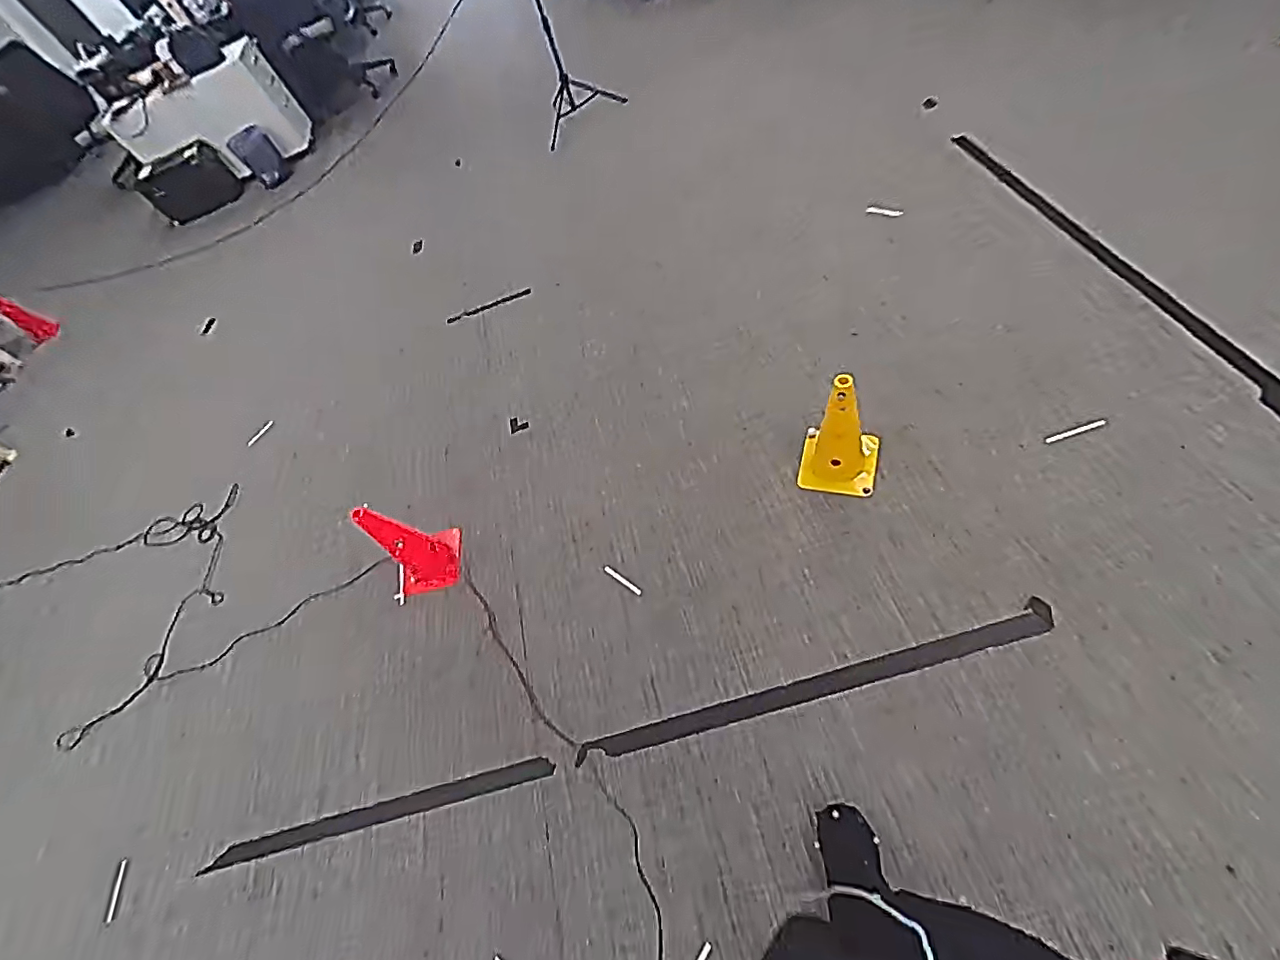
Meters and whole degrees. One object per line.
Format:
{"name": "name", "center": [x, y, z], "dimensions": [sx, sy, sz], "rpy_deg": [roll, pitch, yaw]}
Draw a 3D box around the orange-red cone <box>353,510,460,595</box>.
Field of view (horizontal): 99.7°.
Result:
{"name": "orange-red cone", "center": [-0.720, 0.184, 1.617], "dimensions": [0.199, 0.360, 0.198], "rpy_deg": [-13, 57, 9]}
